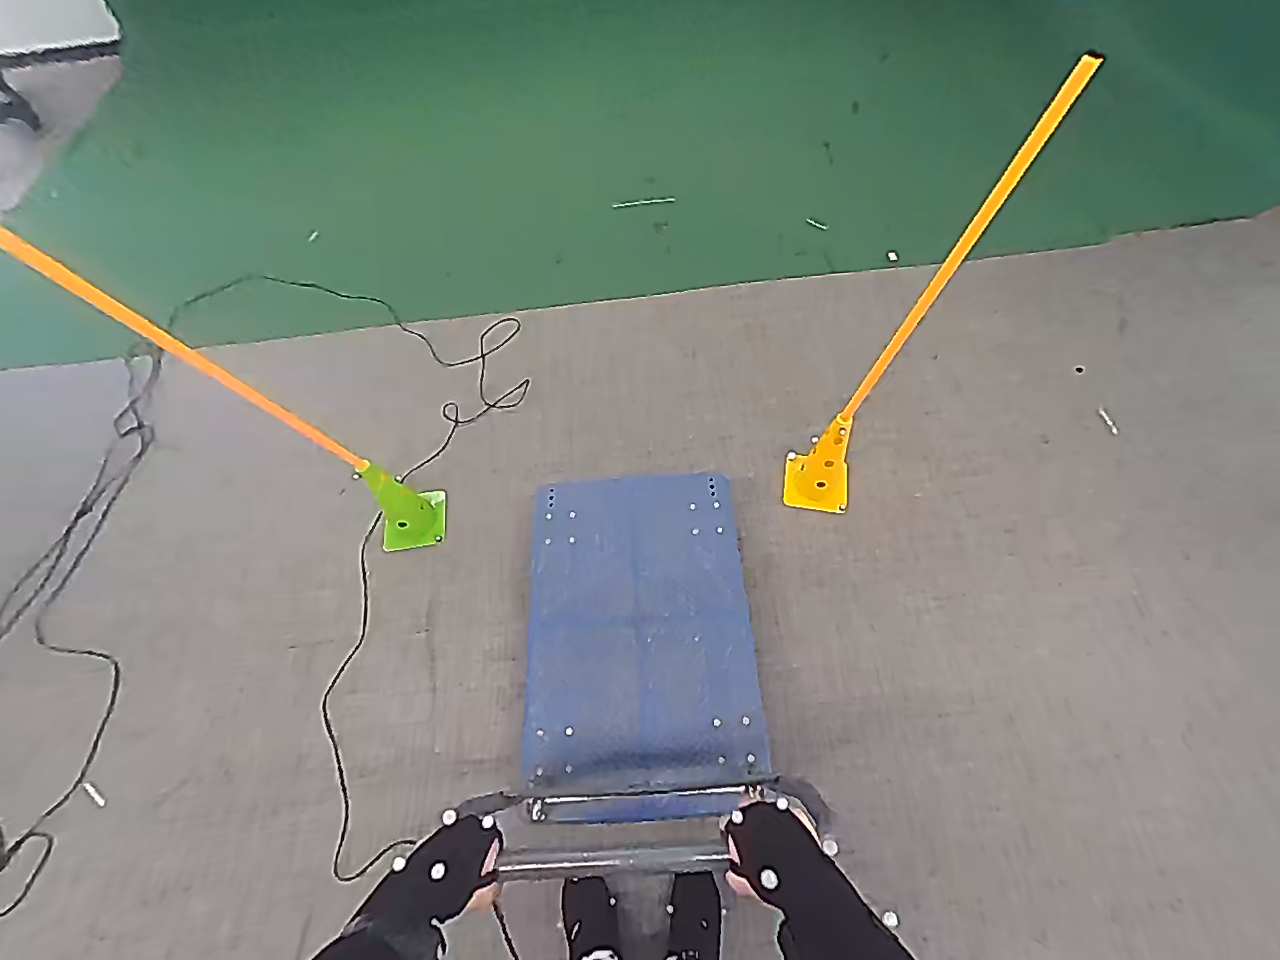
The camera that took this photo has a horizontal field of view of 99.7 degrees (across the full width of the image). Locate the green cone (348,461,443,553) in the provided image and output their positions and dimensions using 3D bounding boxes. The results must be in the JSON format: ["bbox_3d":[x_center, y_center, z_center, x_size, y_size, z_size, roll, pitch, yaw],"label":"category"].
[{"bbox_3d":[-0.768,0.049,1.647,0.202,0.368,0.200,-11,59,0],"label":"green cone"}]
